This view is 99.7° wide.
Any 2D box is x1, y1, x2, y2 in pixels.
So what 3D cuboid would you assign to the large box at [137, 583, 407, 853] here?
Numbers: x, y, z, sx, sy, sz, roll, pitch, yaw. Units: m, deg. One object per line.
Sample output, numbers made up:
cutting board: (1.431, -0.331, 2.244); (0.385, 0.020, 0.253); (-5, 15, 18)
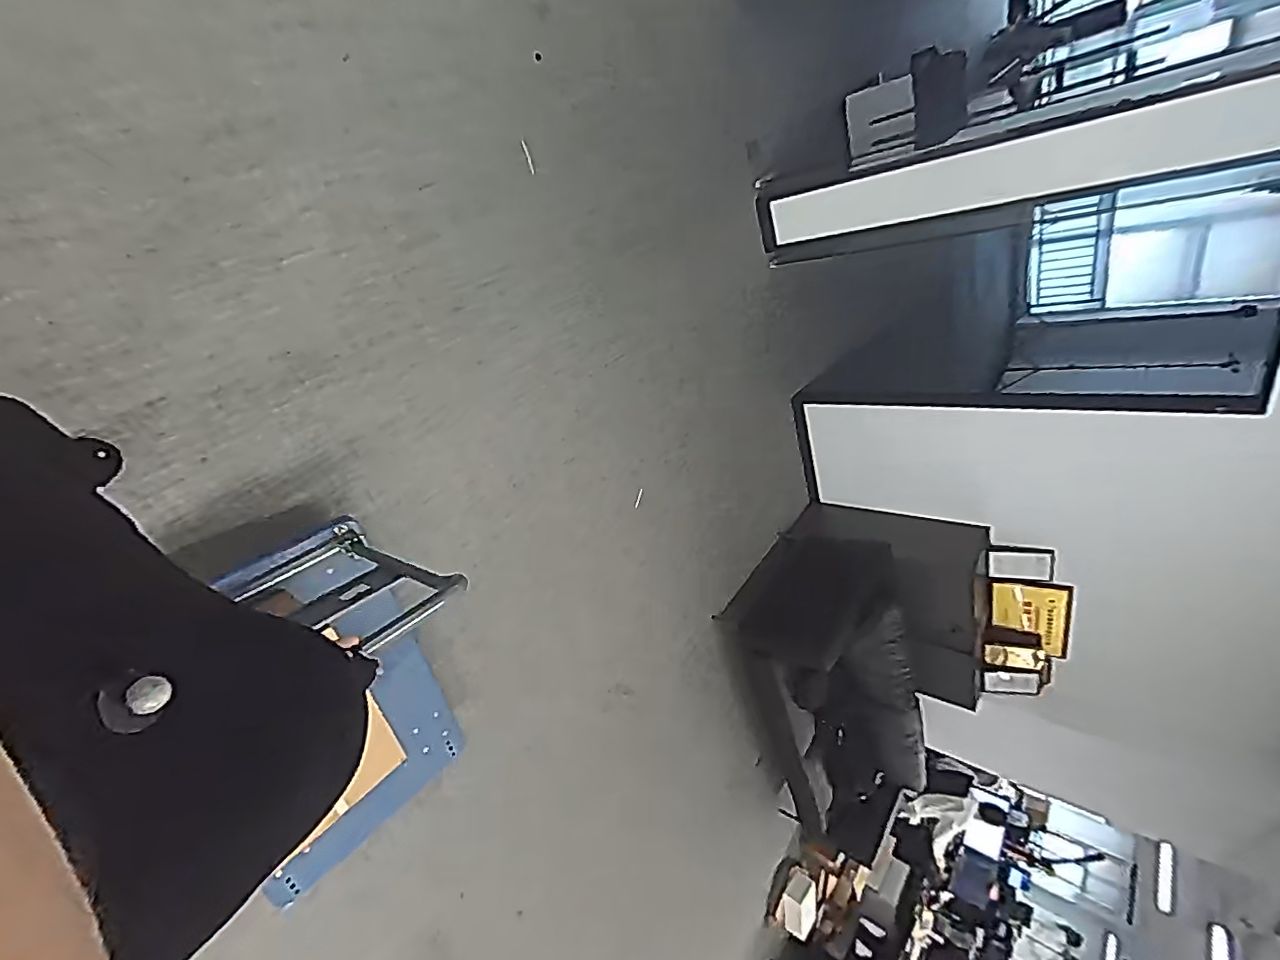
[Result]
large box: (-0.809, 0.507, 1.215); (0.320, 0.320, 0.408); (-36, 122, -39)
